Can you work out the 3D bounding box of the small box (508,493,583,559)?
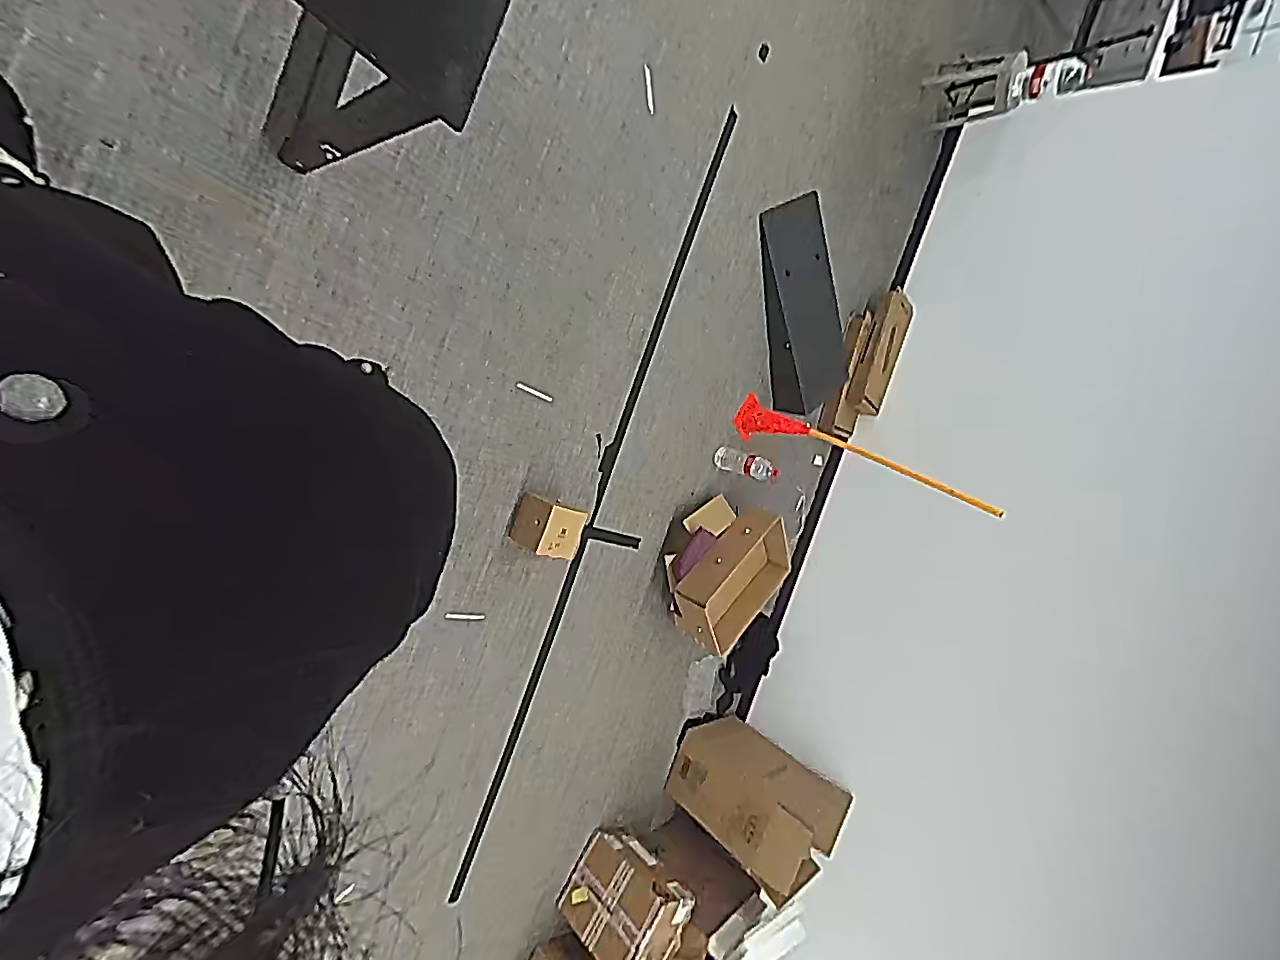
[{"bbox_3d":[-0.336,0.157,1.890,0.168,0.176,0.179,20,90,-48],"label":"small box"}]
